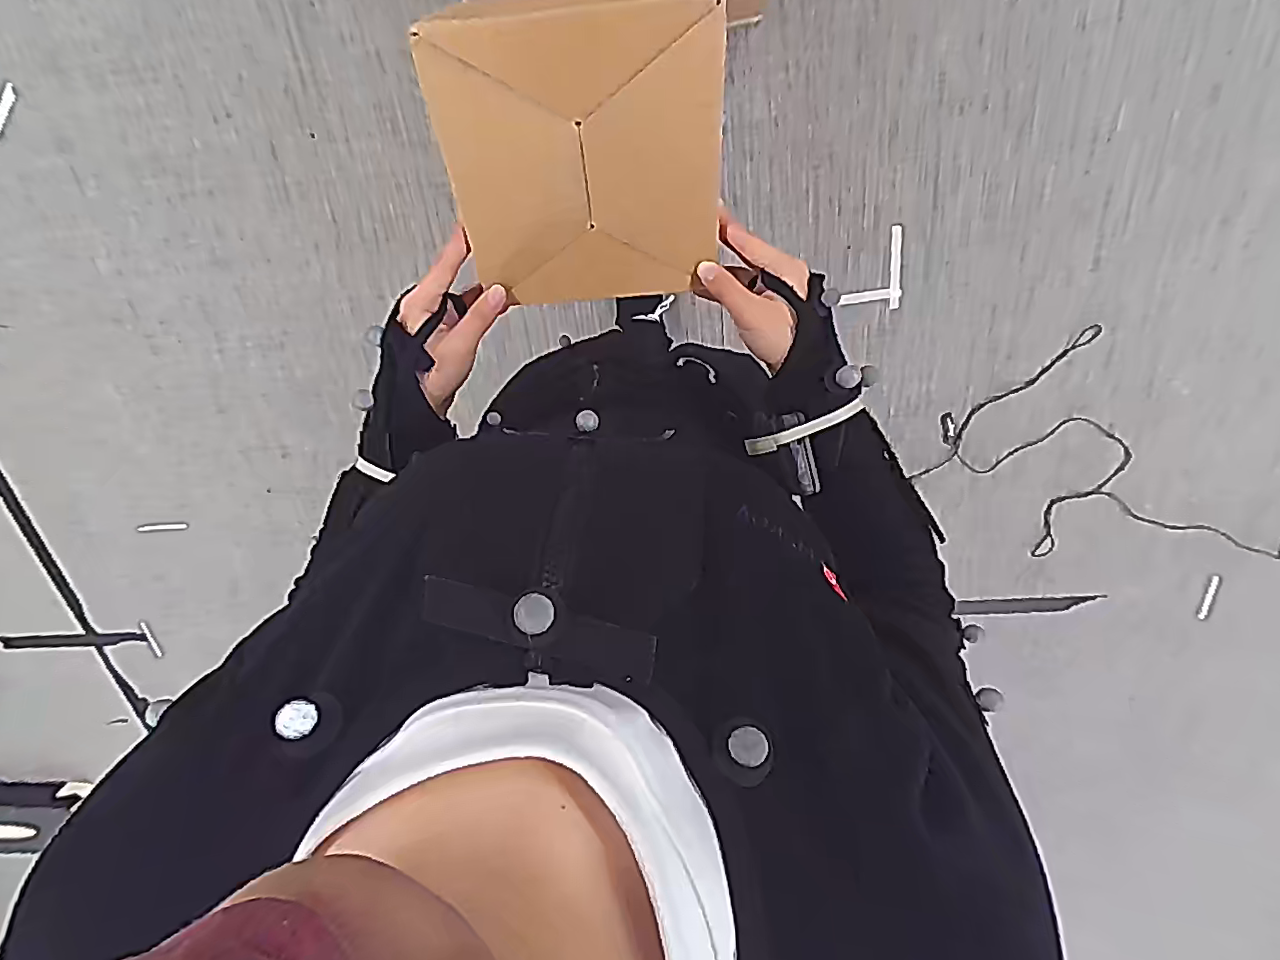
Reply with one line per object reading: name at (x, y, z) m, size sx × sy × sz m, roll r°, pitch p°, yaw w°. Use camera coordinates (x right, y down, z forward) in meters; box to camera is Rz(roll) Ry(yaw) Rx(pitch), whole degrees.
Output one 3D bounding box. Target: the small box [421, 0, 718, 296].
small box at (-0.041, -0.255, 0.409) m, size 0.179 × 0.176 × 0.168 m, roll -3°, pitch 136°, yaw 2°
